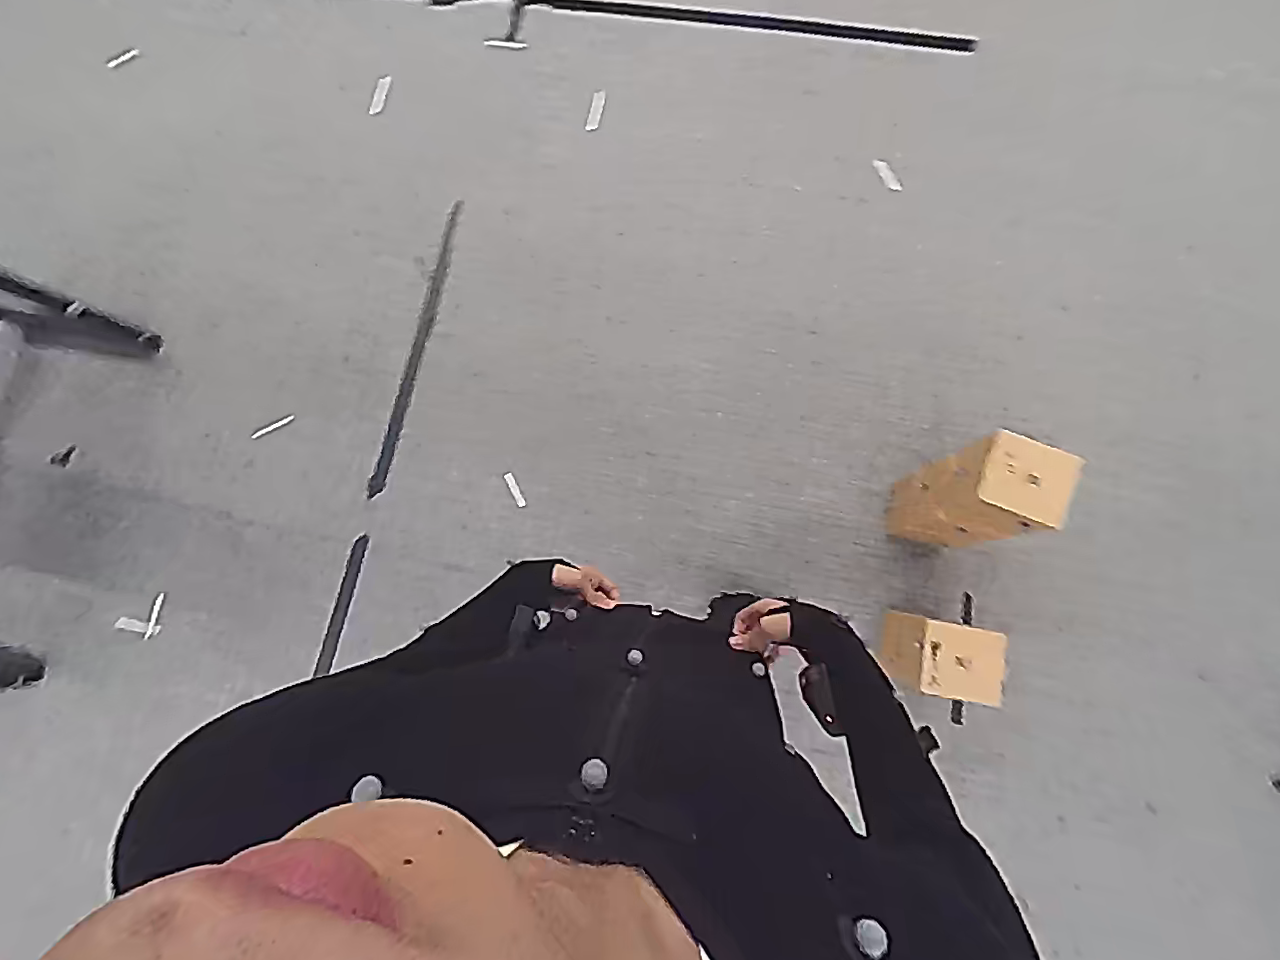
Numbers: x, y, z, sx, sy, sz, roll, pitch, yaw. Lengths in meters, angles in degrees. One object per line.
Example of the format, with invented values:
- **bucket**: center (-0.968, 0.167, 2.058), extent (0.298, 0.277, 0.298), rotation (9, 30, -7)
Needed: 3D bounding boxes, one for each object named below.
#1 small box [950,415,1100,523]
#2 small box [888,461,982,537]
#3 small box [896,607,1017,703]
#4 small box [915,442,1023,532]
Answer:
- **small box**: center (0.807, -0.015, 1.149), extent (0.179, 0.176, 0.168), rotation (23, 83, 7)
- **small box**: center (0.808, 0.057, 1.469), extent (0.179, 0.176, 0.168), rotation (14, 82, 5)
- **small box**: center (0.729, 0.398, 1.259), extent (0.179, 0.176, 0.168), rotation (10, 83, 4)
- **small box**: center (0.804, 0.024, 1.310), extent (0.179, 0.176, 0.168), rotation (17, 82, 6)
